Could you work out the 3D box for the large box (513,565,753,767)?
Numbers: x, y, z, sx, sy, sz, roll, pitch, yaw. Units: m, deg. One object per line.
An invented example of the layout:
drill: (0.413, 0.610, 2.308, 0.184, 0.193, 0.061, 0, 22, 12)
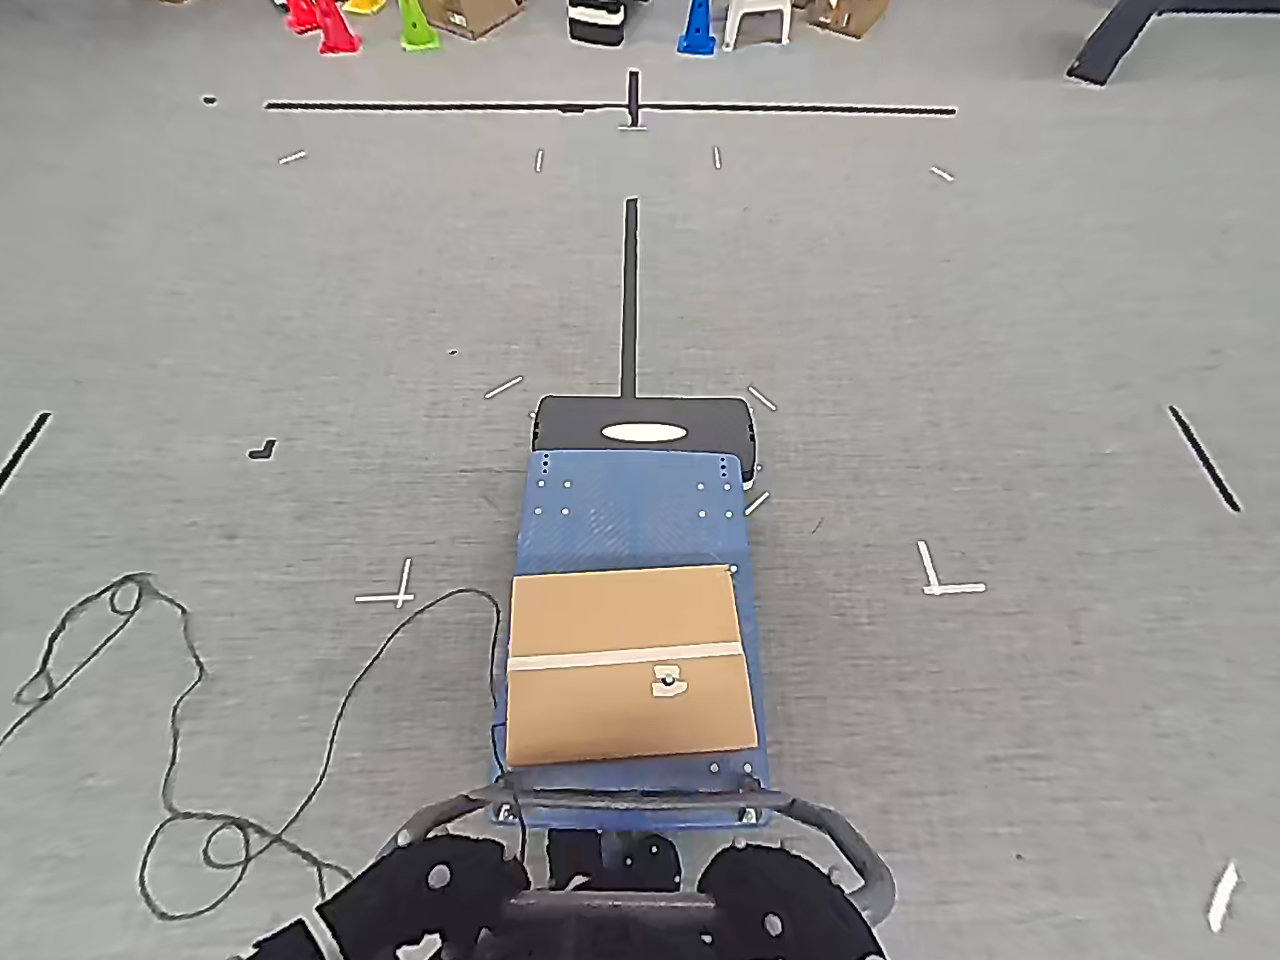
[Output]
large box: (-0.027, 0.380, 1.082, 0.408, 0.320, 0.320, -2, 61, -4)
